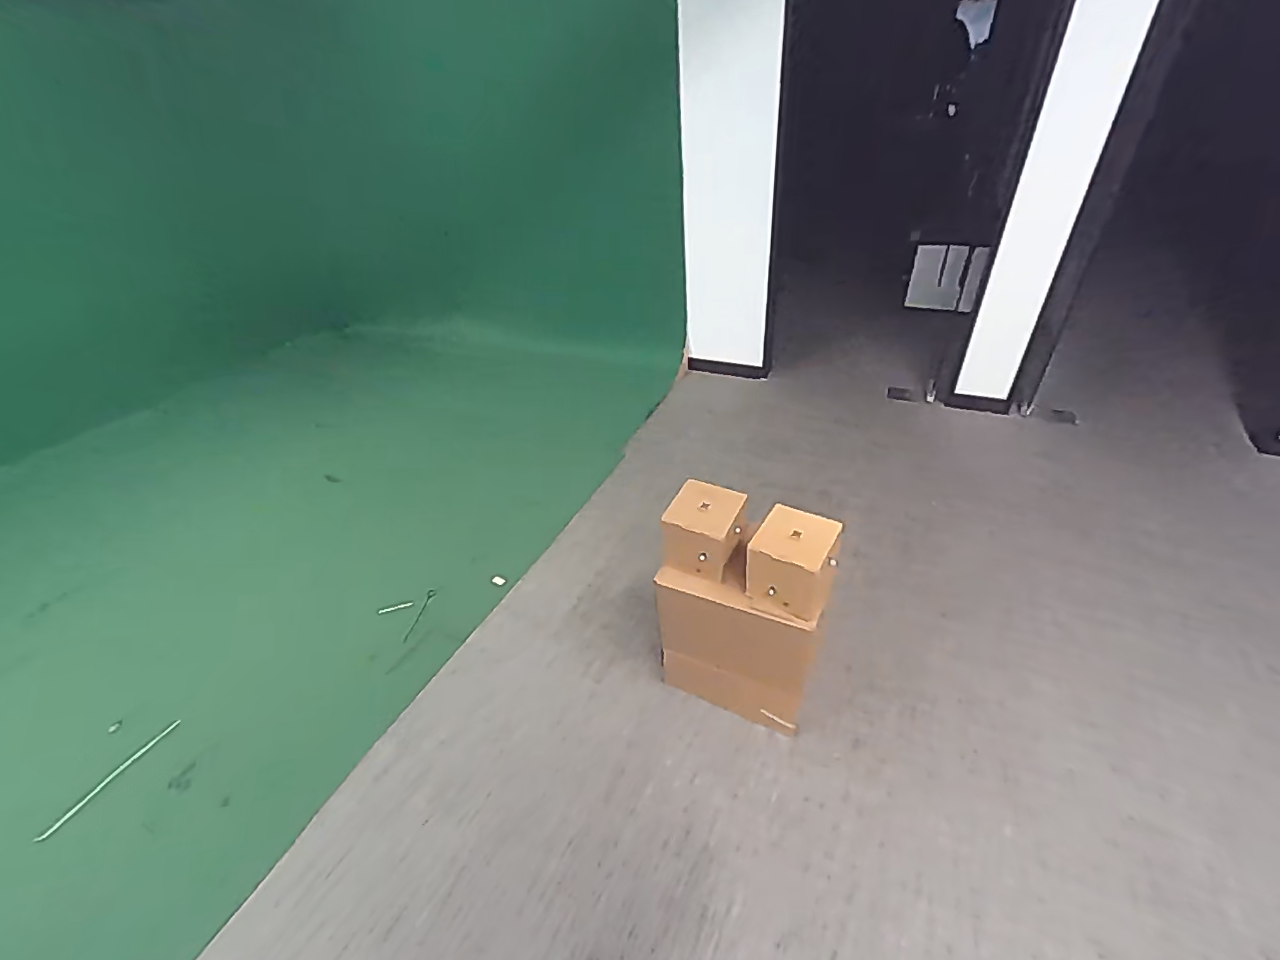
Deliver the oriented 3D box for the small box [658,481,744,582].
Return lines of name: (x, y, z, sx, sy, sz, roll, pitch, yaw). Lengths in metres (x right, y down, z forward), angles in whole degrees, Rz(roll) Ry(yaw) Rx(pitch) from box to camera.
small box: (0.162, 0.134, 1.401, 0.168, 0.176, 0.179, 16, 44, 23)

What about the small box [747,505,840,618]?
small box: (0.362, 0.193, 1.296, 0.168, 0.176, 0.179, 18, 44, 29)
